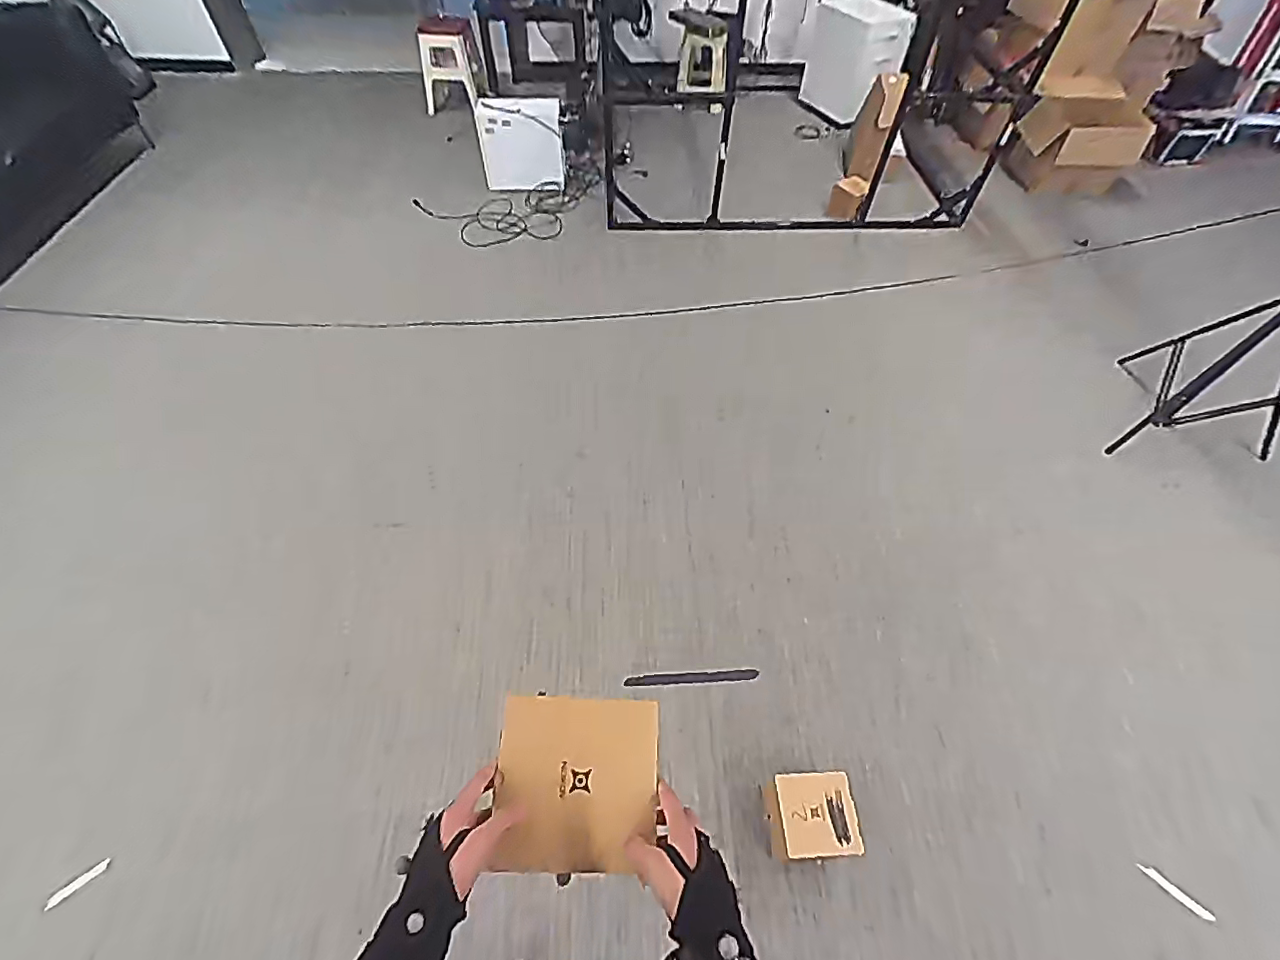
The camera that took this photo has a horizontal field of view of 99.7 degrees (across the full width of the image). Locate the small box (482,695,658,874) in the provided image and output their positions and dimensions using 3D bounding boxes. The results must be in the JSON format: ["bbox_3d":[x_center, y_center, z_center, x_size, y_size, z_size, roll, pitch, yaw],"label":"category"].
[{"bbox_3d":[-0.074,0.352,0.648,0.179,0.176,0.168,3,65,-2],"label":"small box"}]
